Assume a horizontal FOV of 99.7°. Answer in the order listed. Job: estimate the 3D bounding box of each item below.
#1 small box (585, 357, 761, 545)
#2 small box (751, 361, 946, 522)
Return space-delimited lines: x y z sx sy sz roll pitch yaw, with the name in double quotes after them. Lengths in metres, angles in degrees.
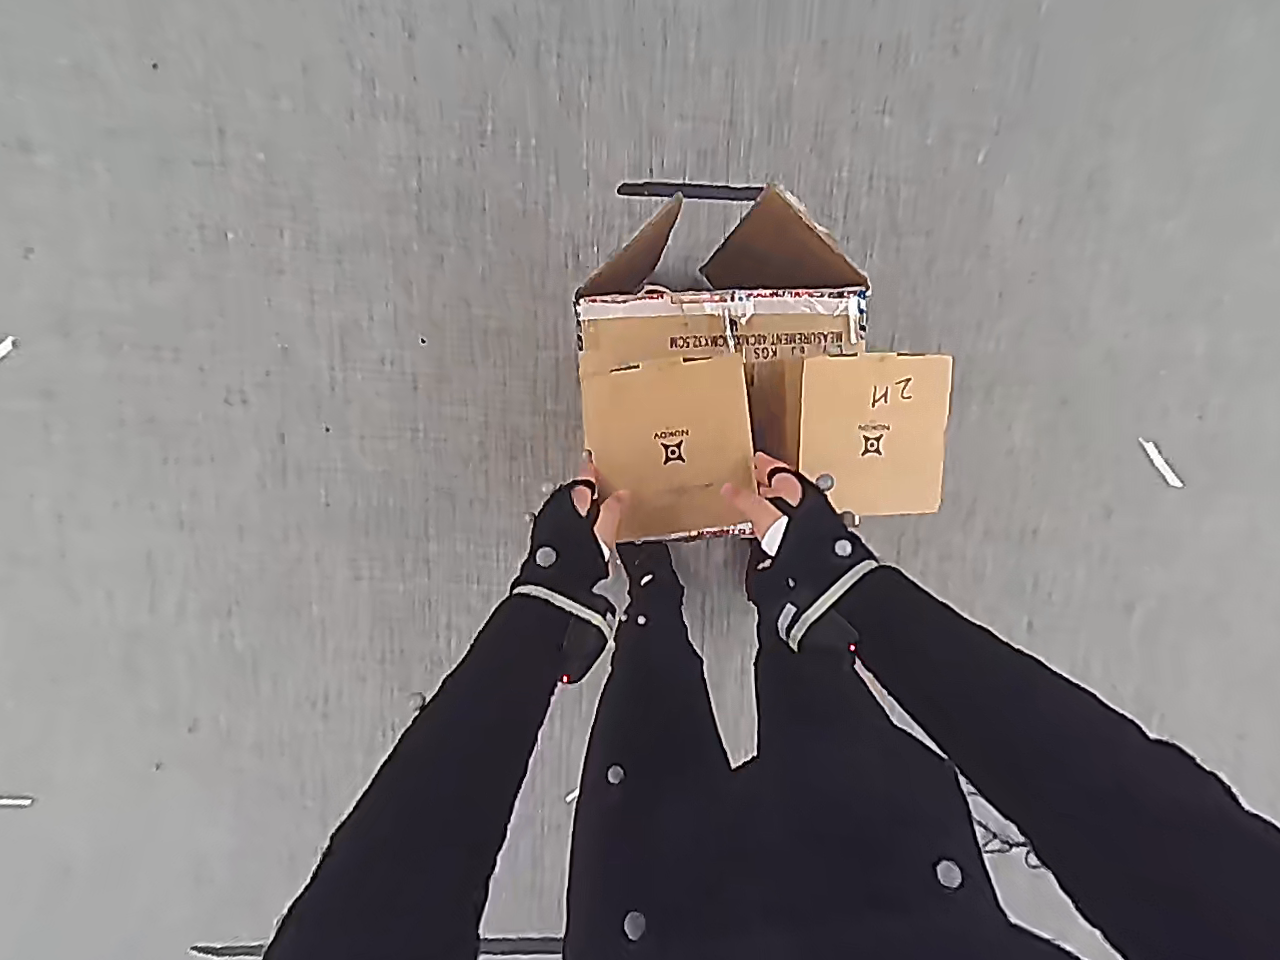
0.029 -0.034 0.629 0.168 0.176 0.179 -9 95 -2 "small box"
0.239 -0.054 0.664 0.168 0.176 0.179 -2 99 -5 "small box"
